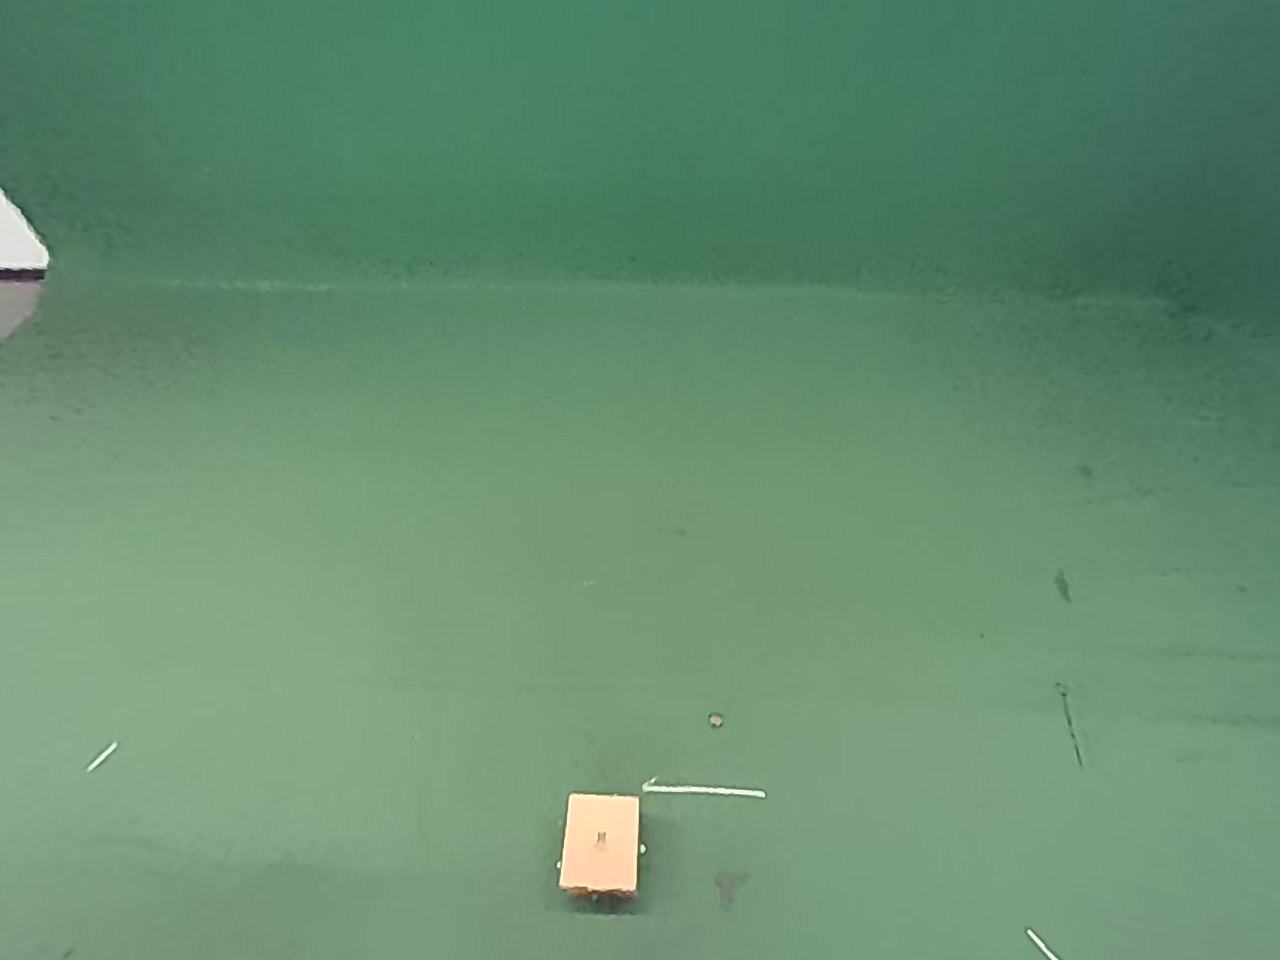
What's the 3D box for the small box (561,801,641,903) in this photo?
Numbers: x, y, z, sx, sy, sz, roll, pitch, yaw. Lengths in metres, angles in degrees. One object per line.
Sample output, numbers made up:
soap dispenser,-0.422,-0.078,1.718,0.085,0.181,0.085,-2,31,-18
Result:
small box,-0.085,0.862,1.251,0.168,0.176,0.179,1,50,1
